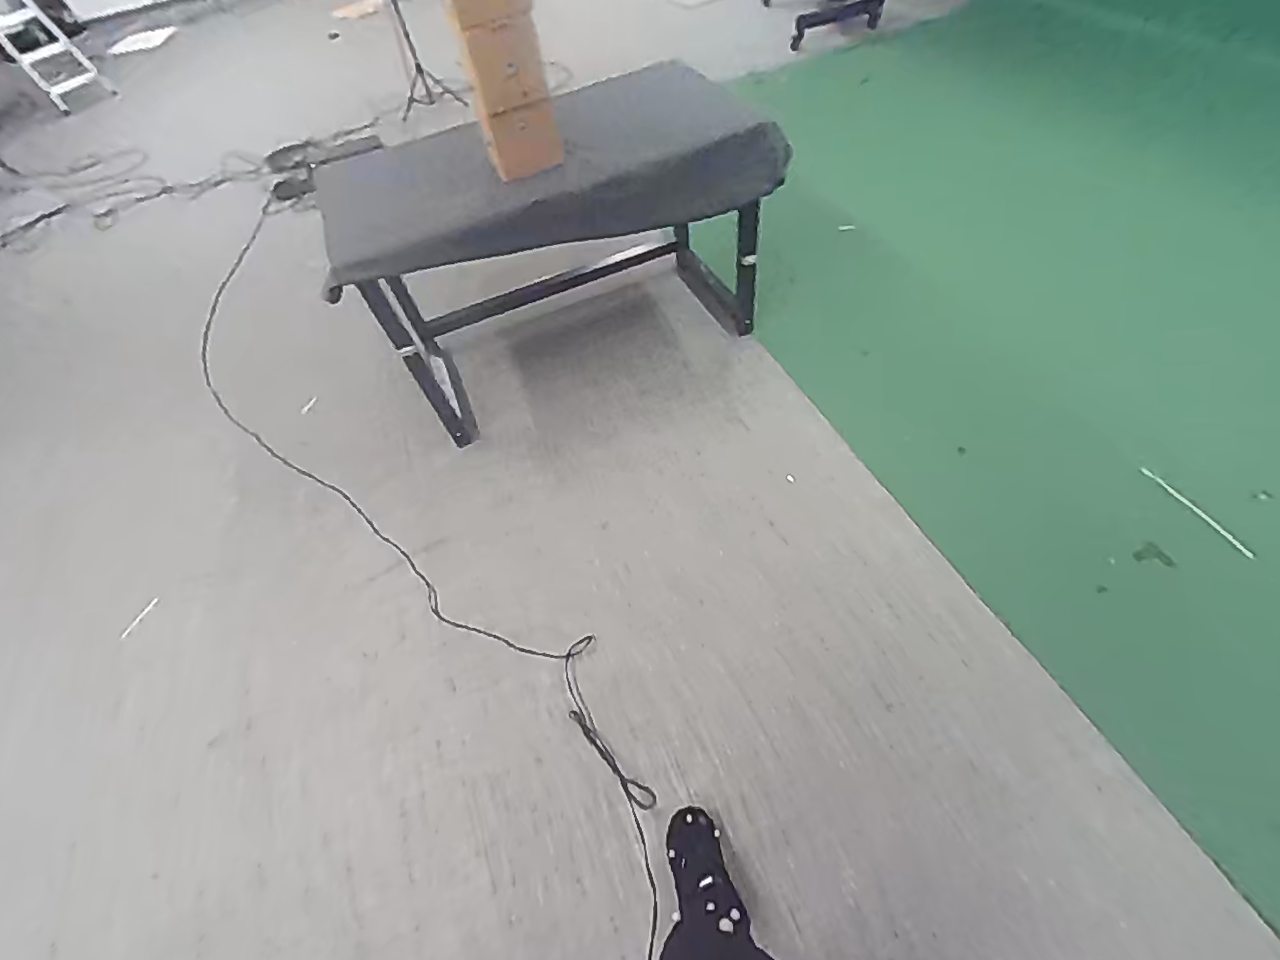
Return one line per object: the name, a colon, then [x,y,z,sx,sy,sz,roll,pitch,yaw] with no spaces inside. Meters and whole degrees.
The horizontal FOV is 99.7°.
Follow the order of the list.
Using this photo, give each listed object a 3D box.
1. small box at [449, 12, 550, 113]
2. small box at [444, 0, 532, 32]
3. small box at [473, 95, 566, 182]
small box: [-0.331,-1.011,1.298,0.168,0.176,0.179,-24,56,-8]
small box: [-0.344,-1.105,1.163,0.179,0.176,0.168,-25,56,-10]
small box: [-0.315,-0.922,1.434,0.179,0.176,0.168,-23,56,-9]
